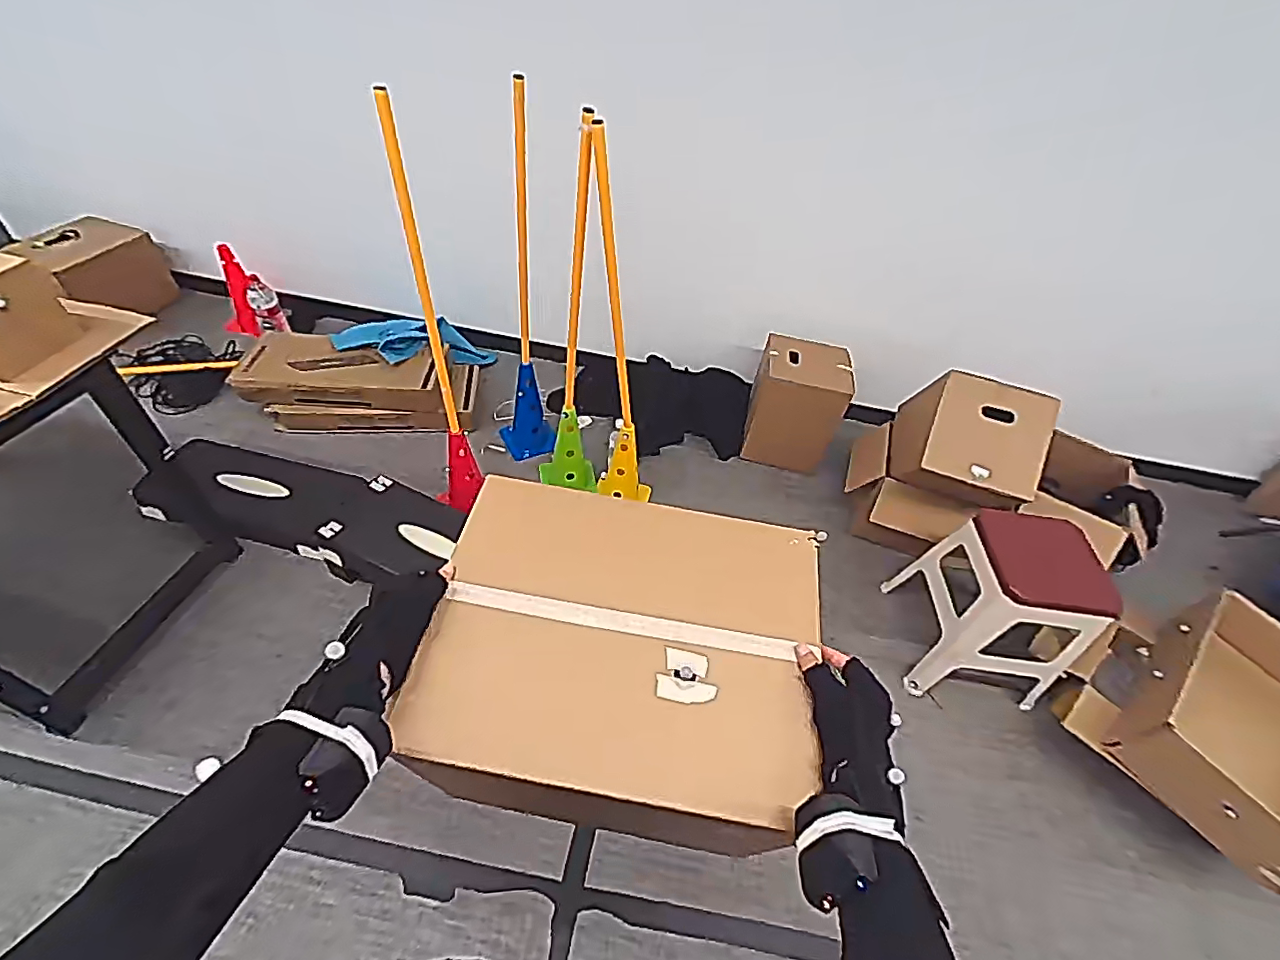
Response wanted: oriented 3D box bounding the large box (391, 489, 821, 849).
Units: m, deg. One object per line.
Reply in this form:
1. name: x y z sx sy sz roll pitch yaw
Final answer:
1. large box: -0.026 0.249 0.694 0.408 0.320 0.320 10 53 2
